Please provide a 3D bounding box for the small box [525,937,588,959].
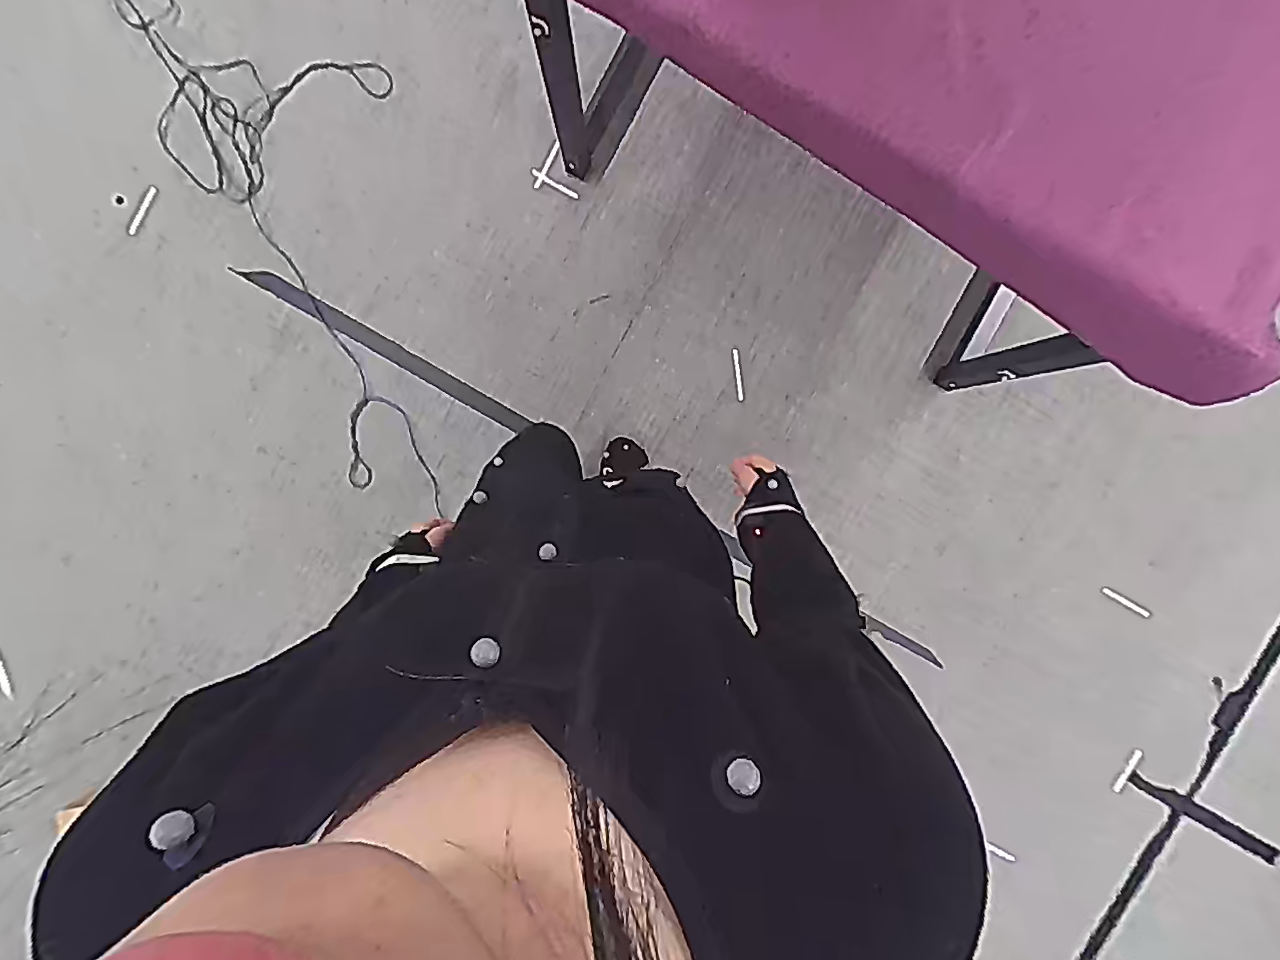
[{"bbox_3d":[-0.223,1.400,1.460,0.168,0.176,0.179,-15,94,0],"label":"small box"}]
